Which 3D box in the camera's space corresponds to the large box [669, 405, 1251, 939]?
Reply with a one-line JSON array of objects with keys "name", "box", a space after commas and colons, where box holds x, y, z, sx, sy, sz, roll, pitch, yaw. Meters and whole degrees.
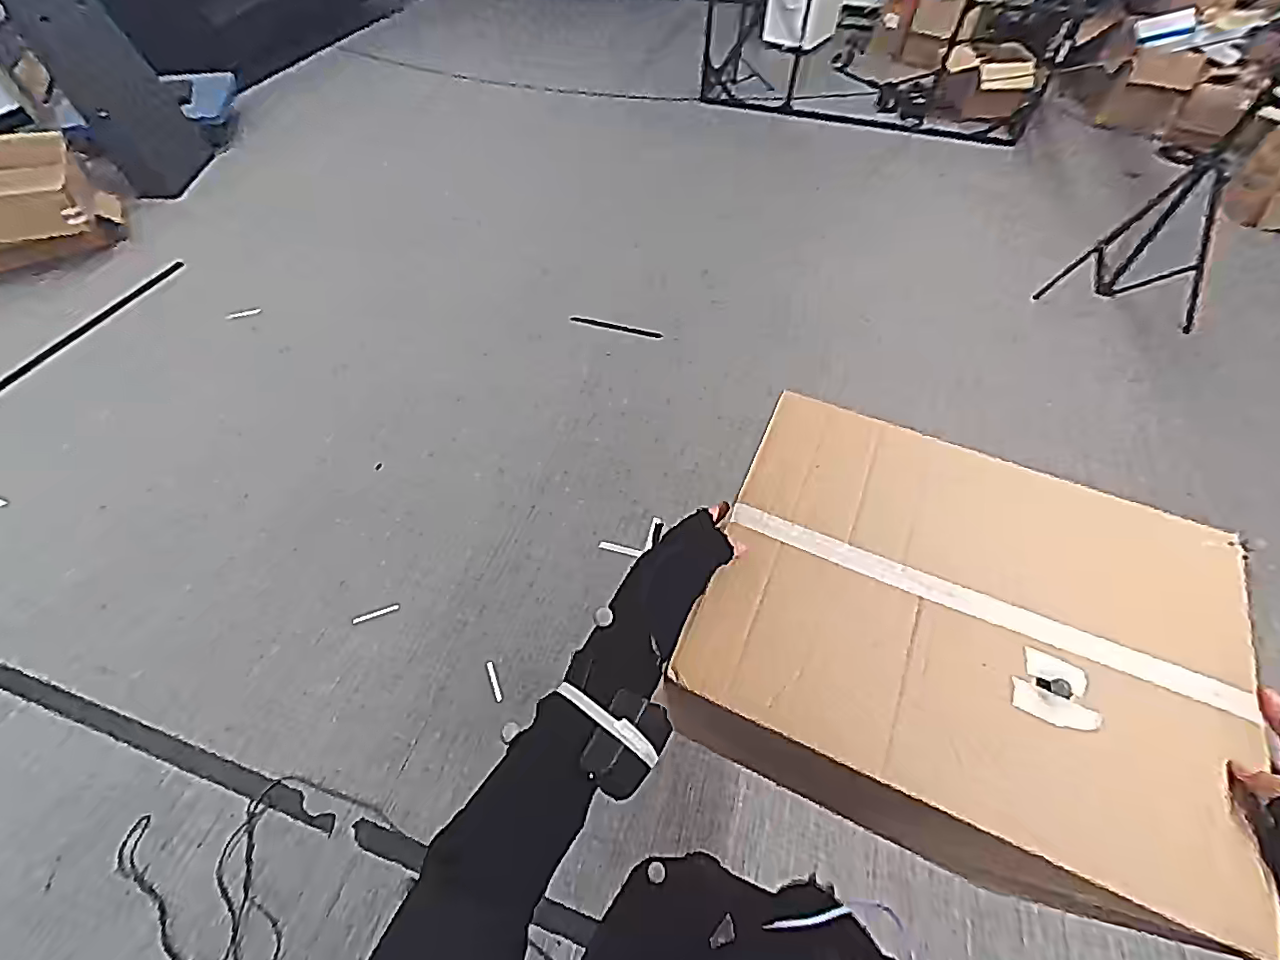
[{"name": "large box", "box": [0.271, 0.181, 0.582, 0.408, 0.320, 0.320, 21, 64, 14]}]
